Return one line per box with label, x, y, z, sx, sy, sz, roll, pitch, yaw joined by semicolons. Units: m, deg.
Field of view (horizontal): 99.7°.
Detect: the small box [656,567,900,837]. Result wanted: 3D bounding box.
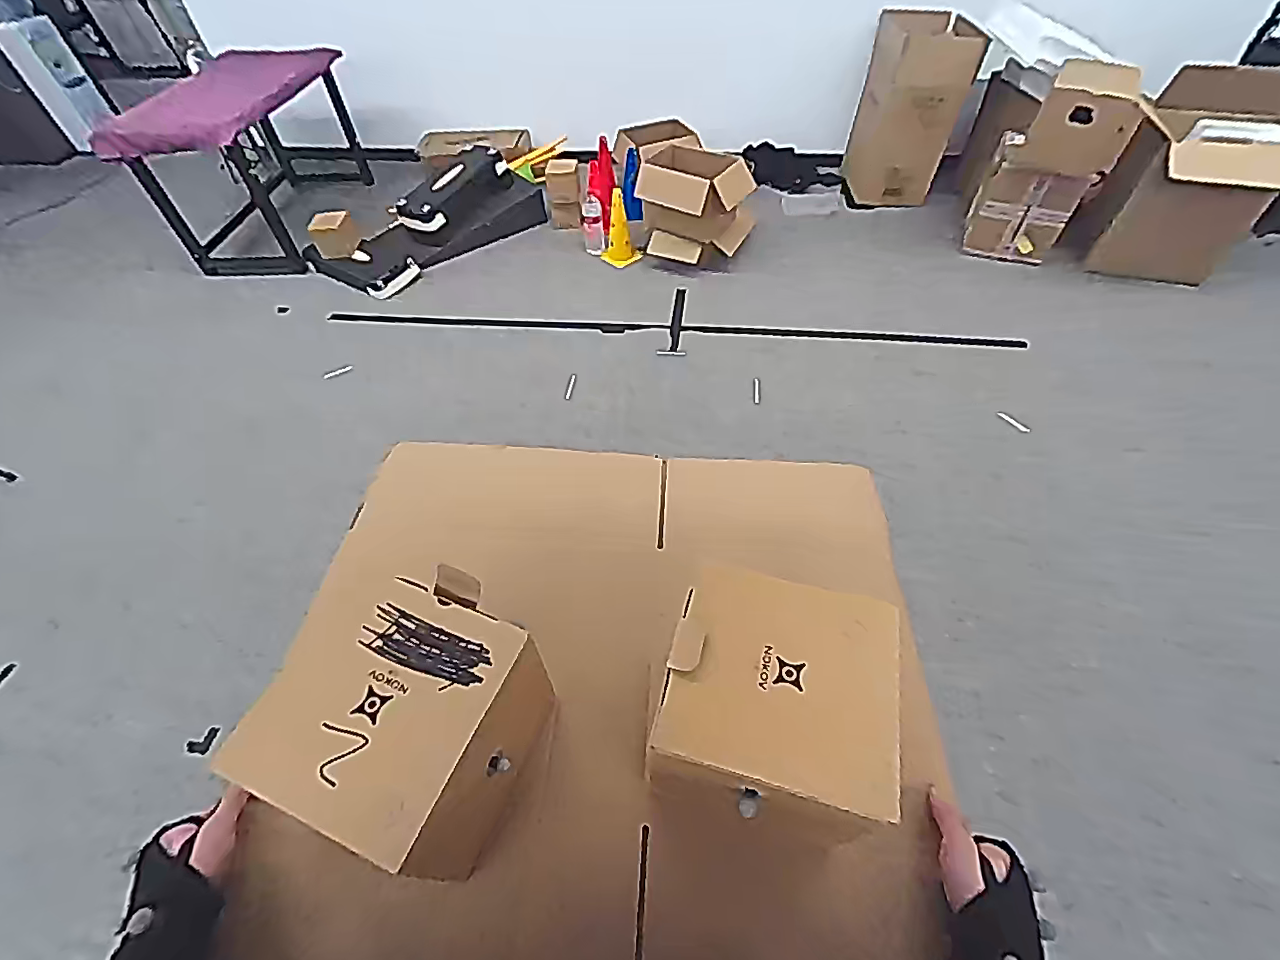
small box;0.120;0.208;0.498;0.179;0.176;0.168;11;52;12
